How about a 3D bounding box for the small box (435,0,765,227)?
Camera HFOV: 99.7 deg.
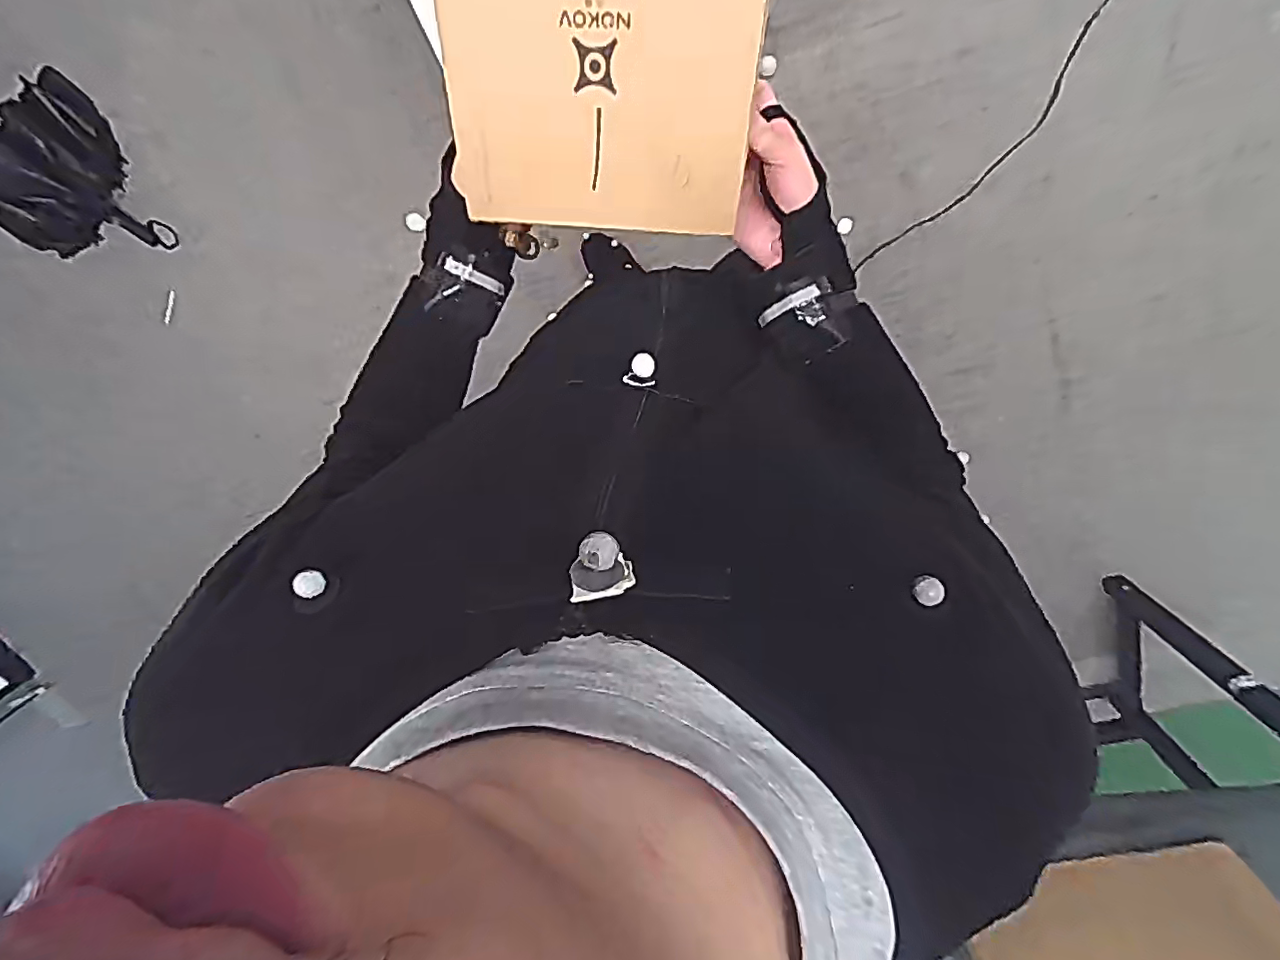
[{"bbox_3d":[-0.014,-0.277,0.335,0.168,0.176,0.179,6,130,3],"label":"small box"}]
